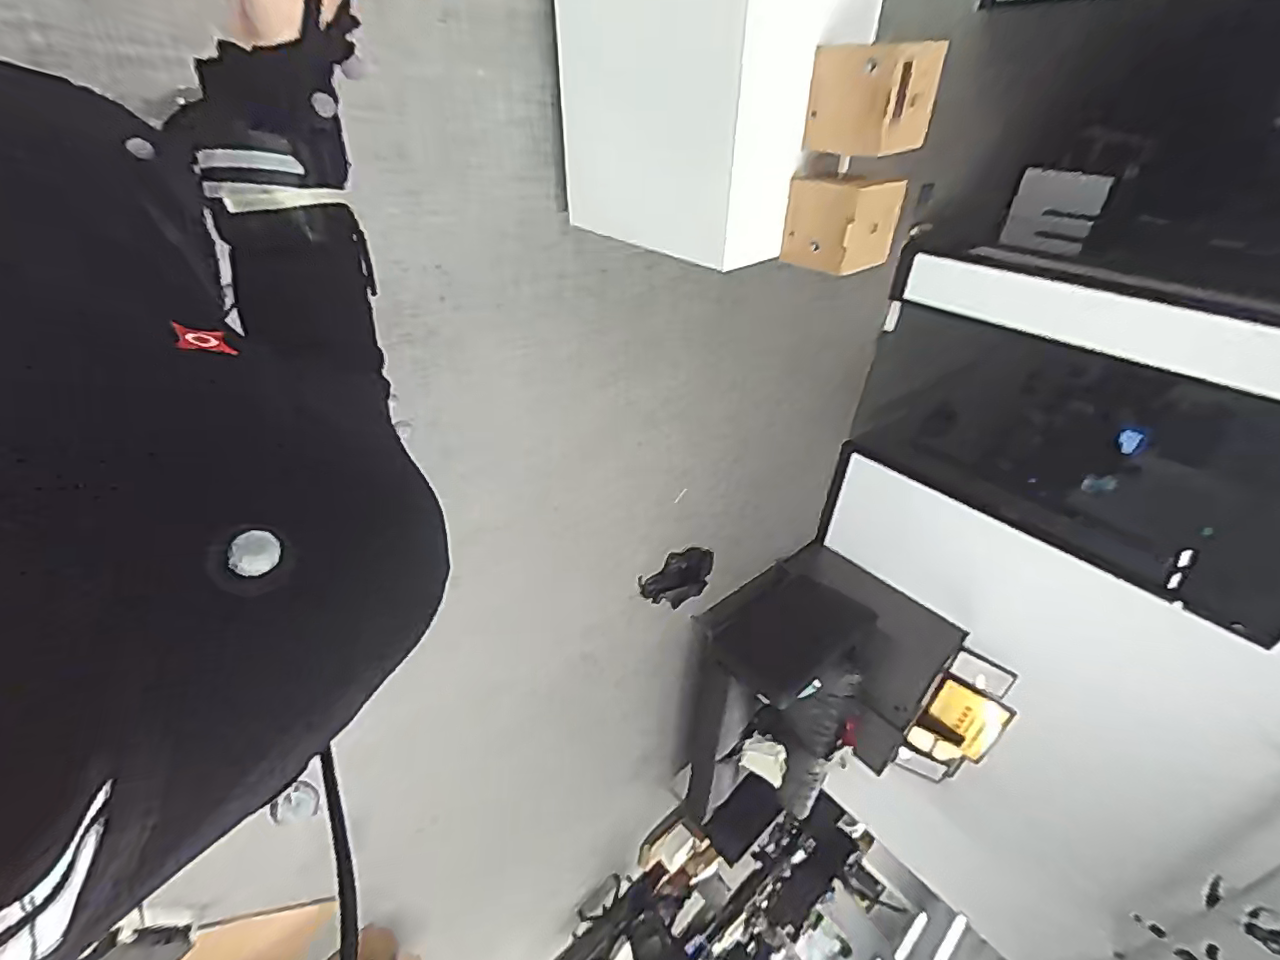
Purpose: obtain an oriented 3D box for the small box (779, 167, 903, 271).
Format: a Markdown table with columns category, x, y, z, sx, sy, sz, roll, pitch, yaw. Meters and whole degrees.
| category | x | y | z | sx | sy | sz | roll | pitch | yaw |
| --- | --- | --- | --- | --- | --- | --- | --- | --- | --- |
| small box | 0.422 | -0.564 | 1.160 | 0.179 | 0.176 | 0.168 | -28 | 136 | -32 |
